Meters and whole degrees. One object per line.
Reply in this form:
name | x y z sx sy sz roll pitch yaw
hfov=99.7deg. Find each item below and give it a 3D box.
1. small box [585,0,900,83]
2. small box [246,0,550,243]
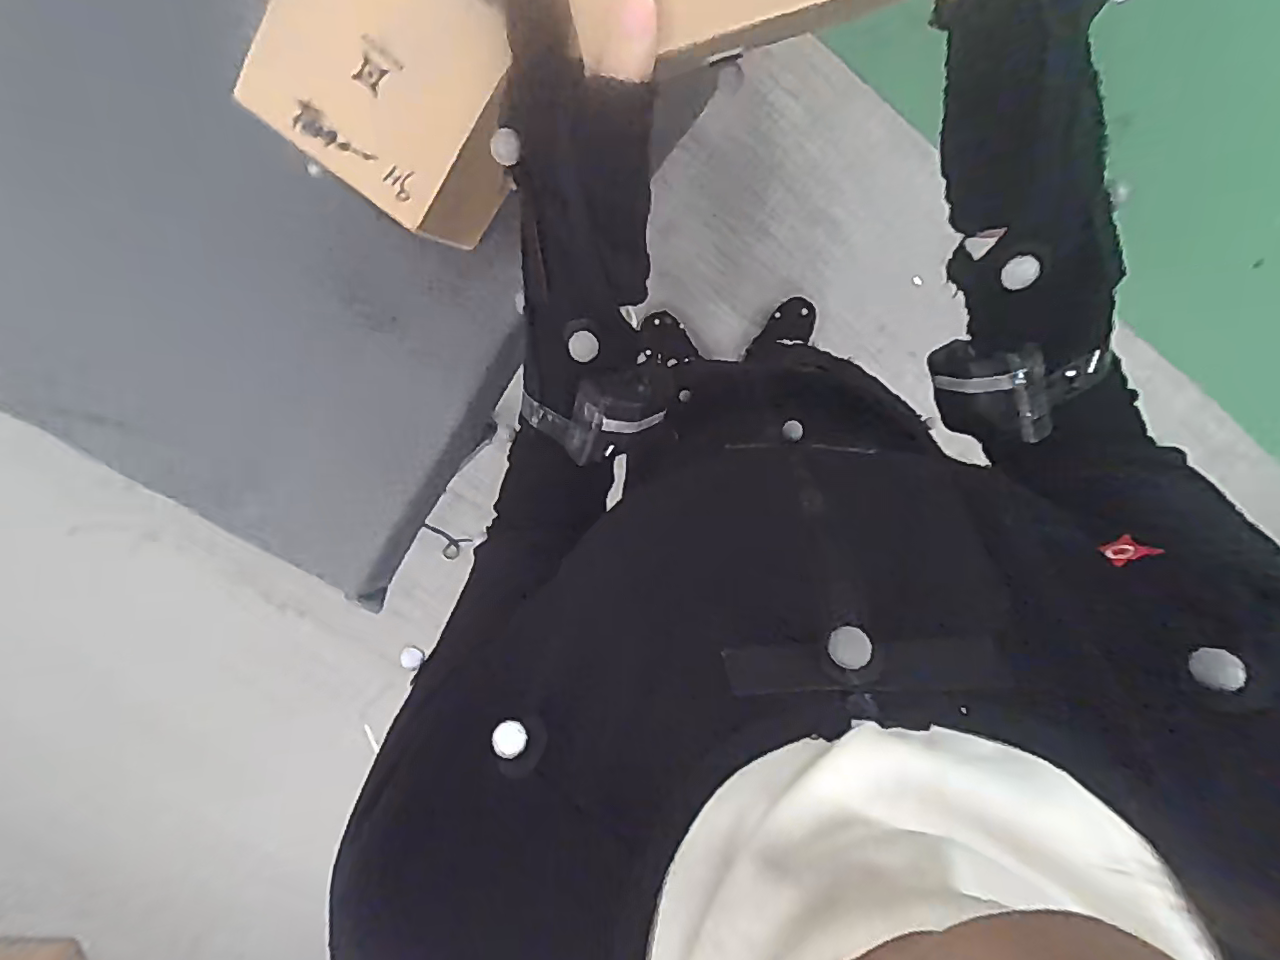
small box | 0.045 -0.300 0.233 0.168 0.176 0.179 -10 123 9
small box | -0.198 -0.350 0.498 0.168 0.176 0.179 36 104 -10
